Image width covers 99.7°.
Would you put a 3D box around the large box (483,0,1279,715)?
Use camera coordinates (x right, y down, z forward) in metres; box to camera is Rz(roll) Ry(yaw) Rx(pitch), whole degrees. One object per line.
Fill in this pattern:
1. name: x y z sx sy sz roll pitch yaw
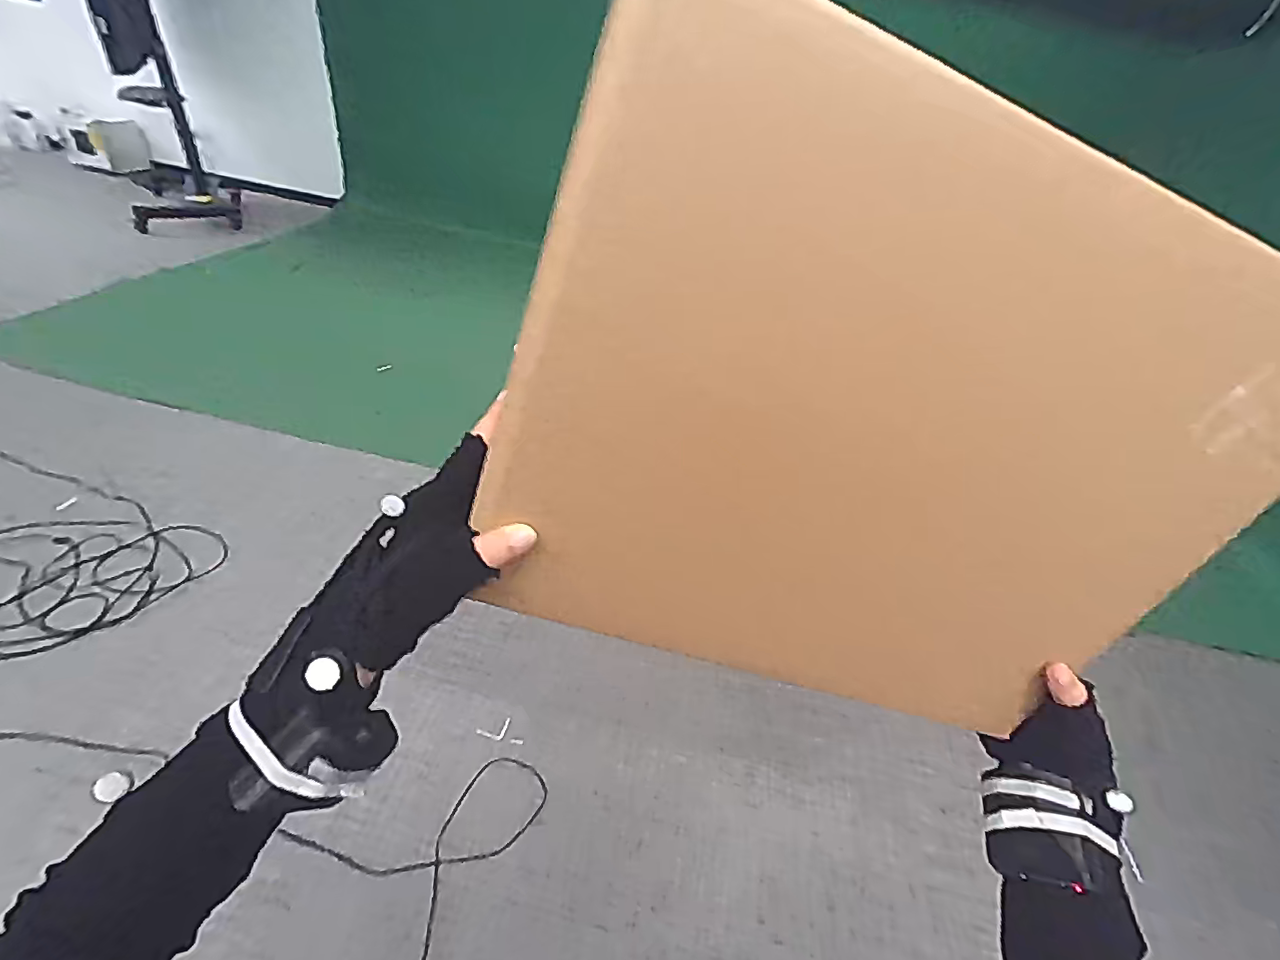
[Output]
1. large box: 0.134 -0.074 0.423 0.408 0.320 0.320 19 29 -12
